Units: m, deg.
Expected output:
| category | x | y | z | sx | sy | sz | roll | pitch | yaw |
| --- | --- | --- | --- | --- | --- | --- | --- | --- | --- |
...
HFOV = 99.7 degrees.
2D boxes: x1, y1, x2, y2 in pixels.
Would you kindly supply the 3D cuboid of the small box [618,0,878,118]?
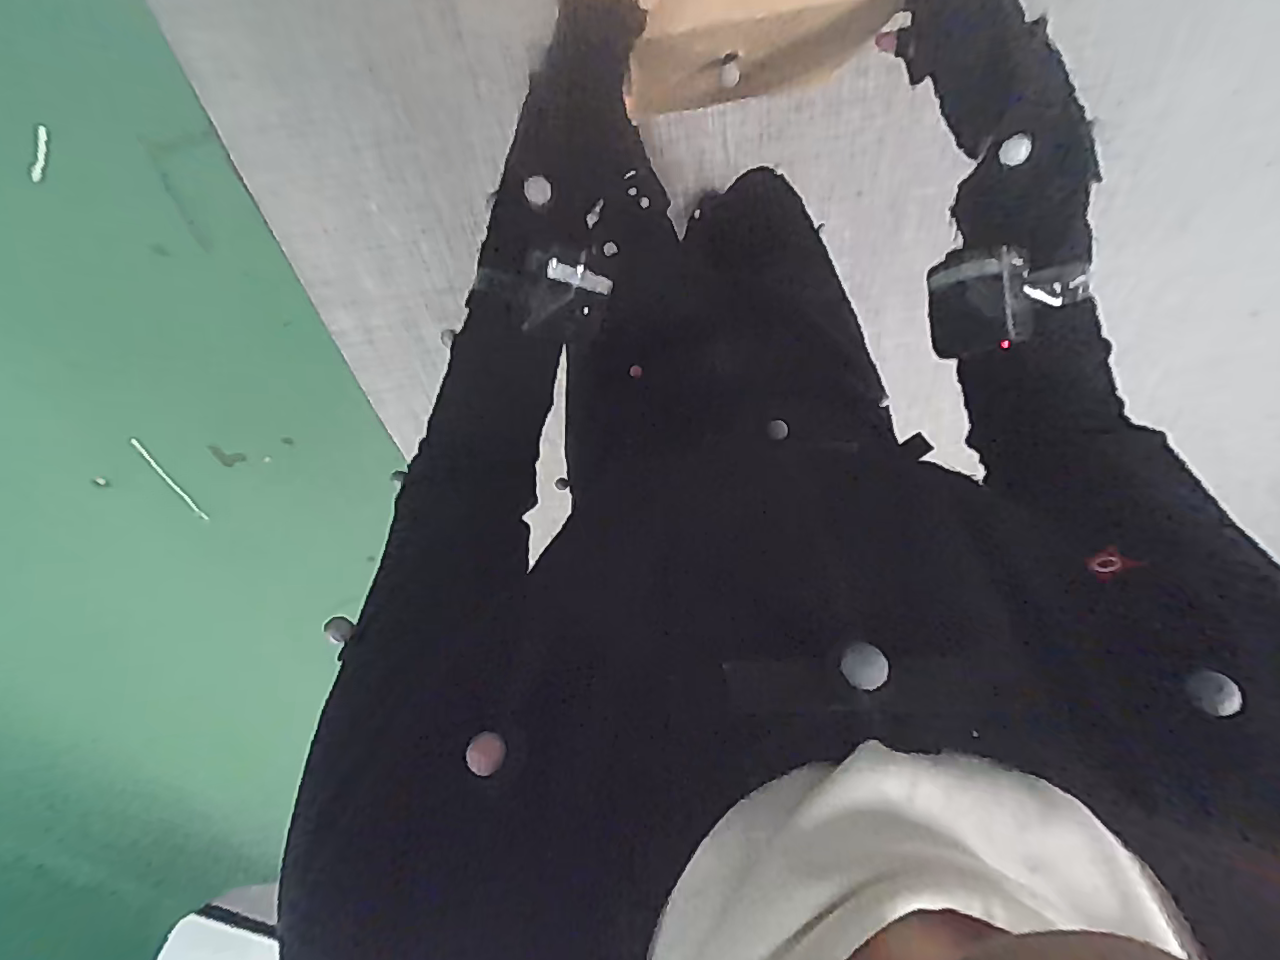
| category | x | y | z | sx | sy | sz | roll | pitch | yaw |
| --- | --- | --- | --- | --- | --- | --- | --- | --- | --- |
| small box | 0.066 | -0.383 | 0.374 | 0.179 | 0.176 | 0.168 | -11 | 108 | 3 |
